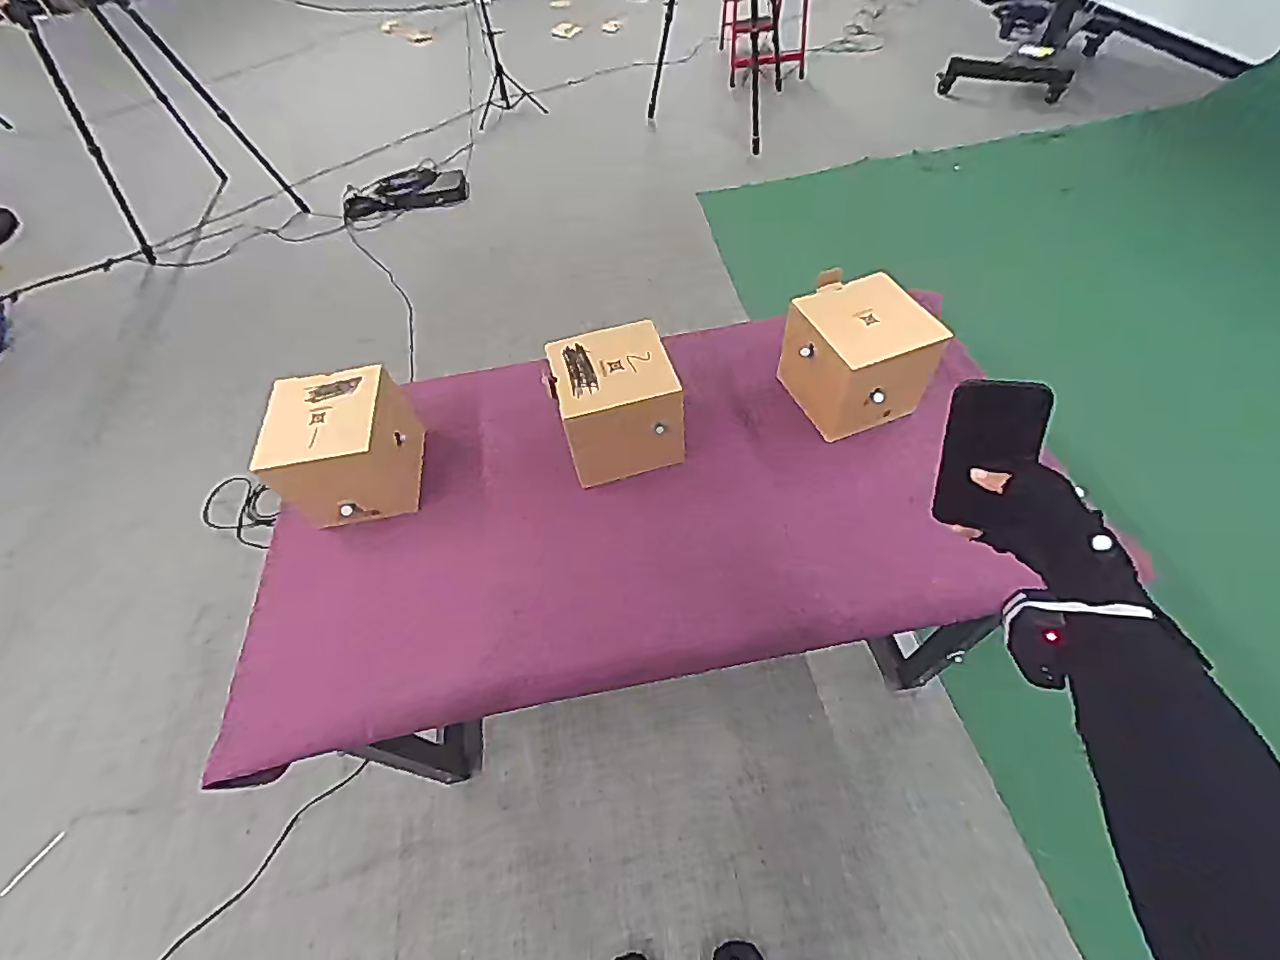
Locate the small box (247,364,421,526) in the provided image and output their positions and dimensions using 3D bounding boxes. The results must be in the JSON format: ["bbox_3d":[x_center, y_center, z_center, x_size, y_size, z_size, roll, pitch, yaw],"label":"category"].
[{"bbox_3d":[-0.457,-0.051,0.845,0.168,0.176,0.179,-10,56,-1],"label":"small box"}]

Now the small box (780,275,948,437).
[{"bbox_3d":[0.344,-0.191,0.871,0.168,0.176,0.179,-19,55,-7],"label":"small box"}]
